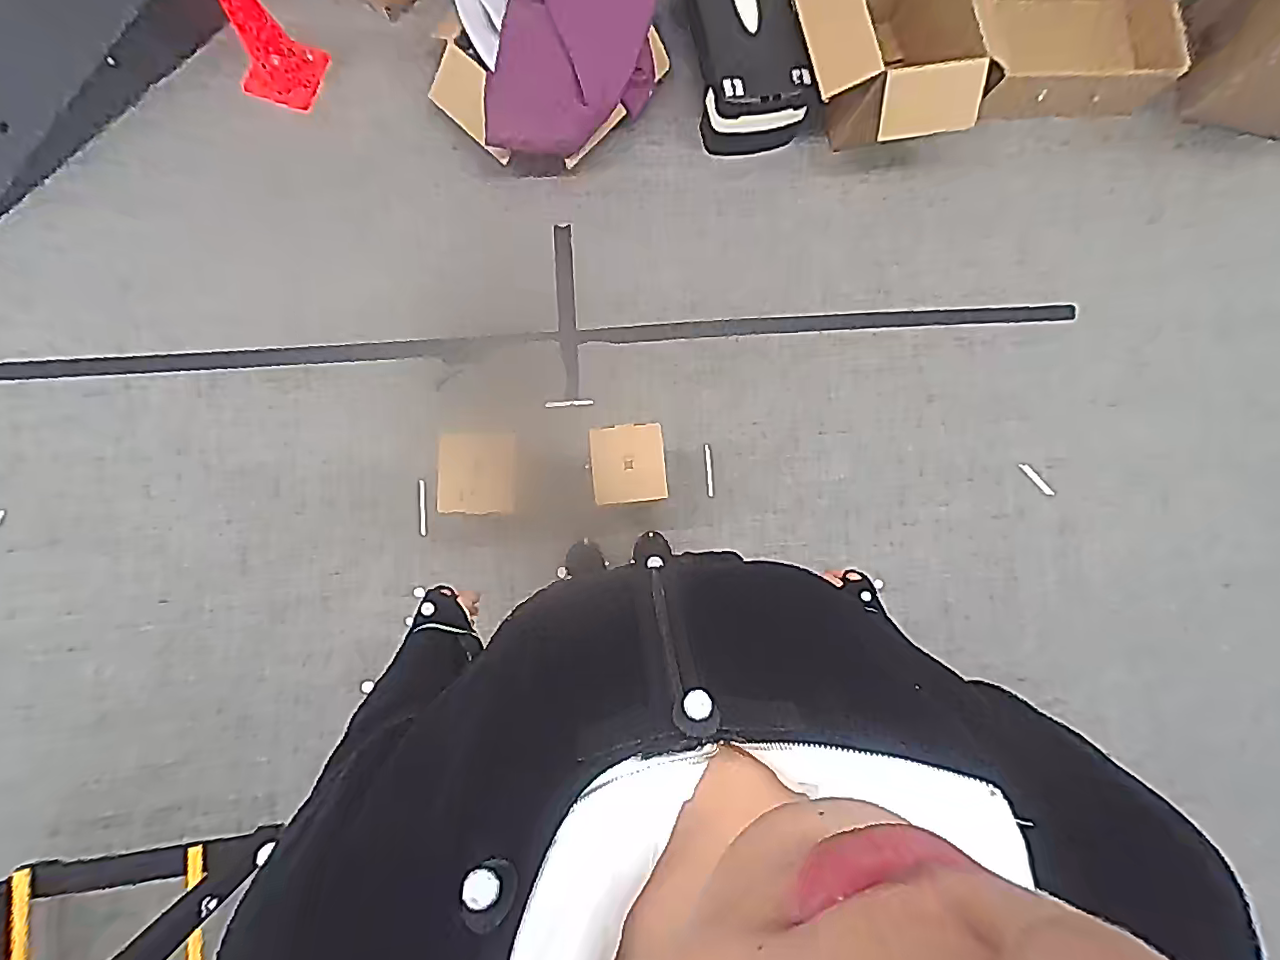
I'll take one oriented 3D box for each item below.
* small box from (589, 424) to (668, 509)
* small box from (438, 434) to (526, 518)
[{"bbox_3d":[-0.033,-0.027,1.291,0.168,0.176,0.179,-6,86,-5],"label":"small box"},{"bbox_3d":[-0.359,-0.004,1.254,0.168,0.176,0.179,0,85,-5],"label":"small box"}]
